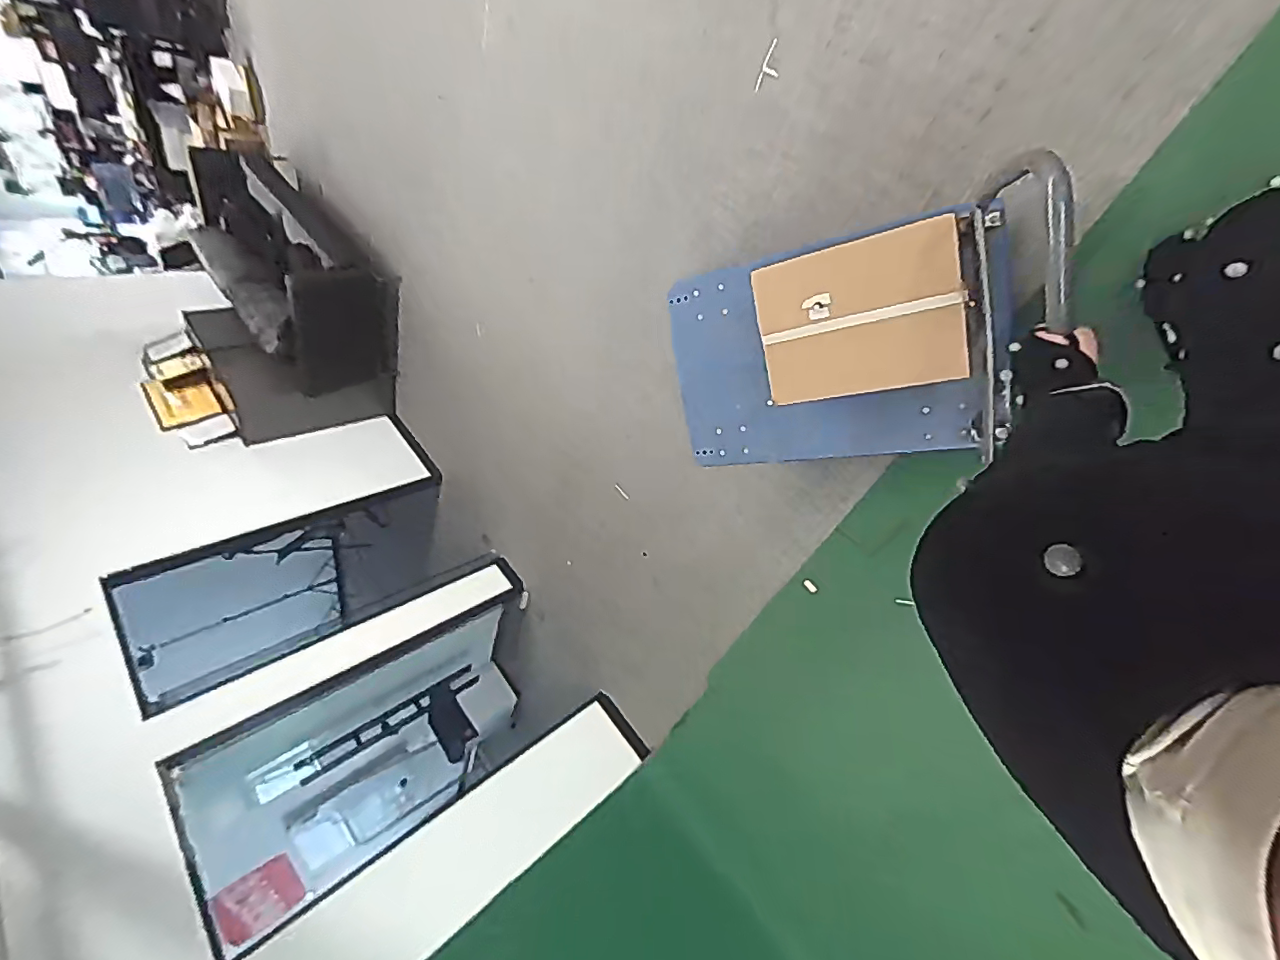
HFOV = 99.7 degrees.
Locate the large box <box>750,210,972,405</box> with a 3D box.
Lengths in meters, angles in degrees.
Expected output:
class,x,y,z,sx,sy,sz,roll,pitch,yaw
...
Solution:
class,x,y,z,sx,sy,sz,roll,pitch,yaw
large box,0.522,-0.386,1.259,0.408,0.320,0.320,-6,103,33
